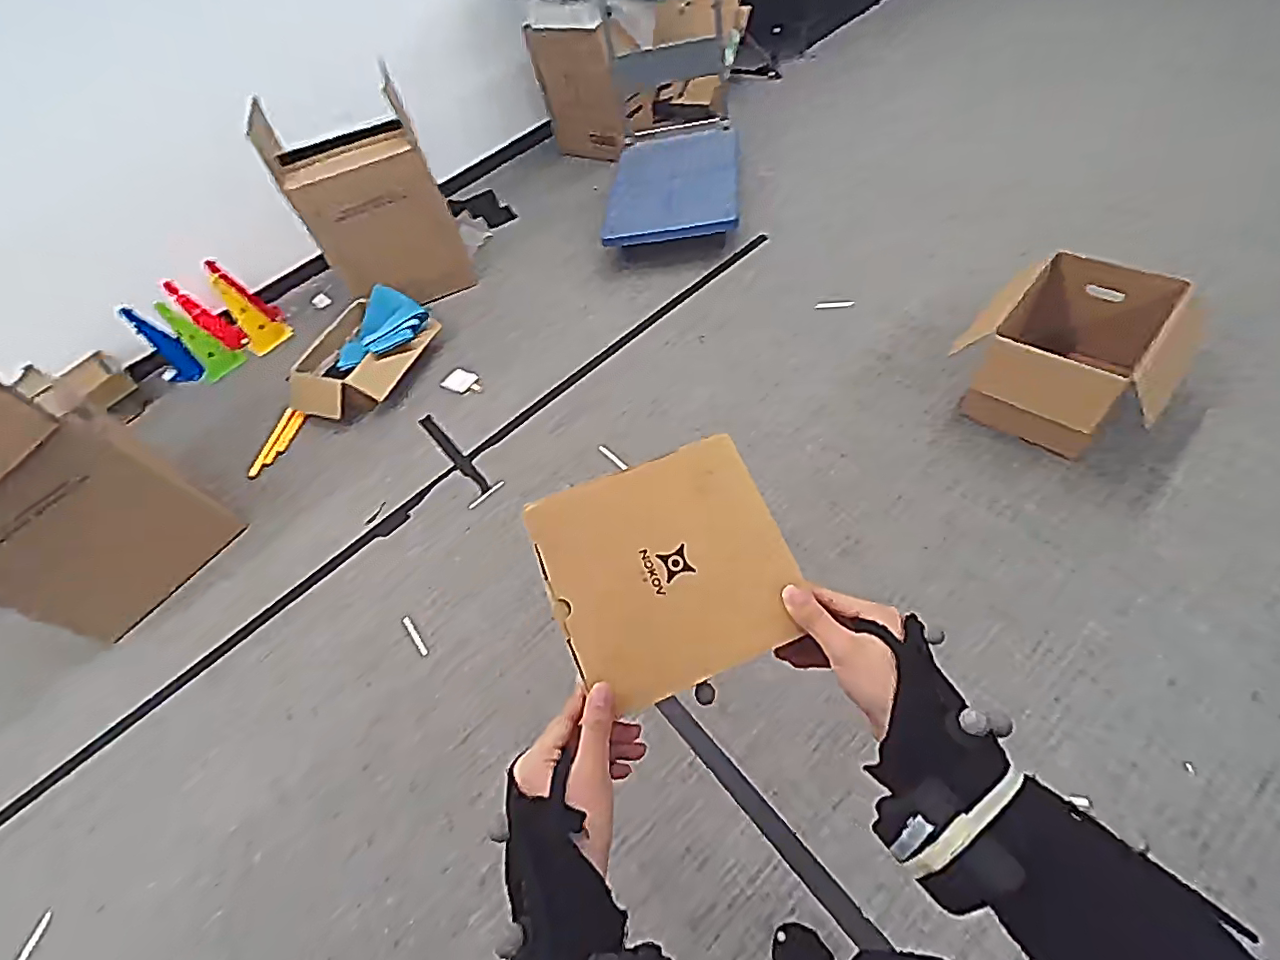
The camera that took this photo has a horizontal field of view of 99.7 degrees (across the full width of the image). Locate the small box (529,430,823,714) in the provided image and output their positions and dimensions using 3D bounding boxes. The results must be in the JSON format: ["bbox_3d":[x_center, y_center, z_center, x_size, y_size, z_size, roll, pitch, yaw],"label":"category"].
[{"bbox_3d":[0.021,0.084,0.472,0.179,0.176,0.168,-21,71,-8],"label":"small box"}]
